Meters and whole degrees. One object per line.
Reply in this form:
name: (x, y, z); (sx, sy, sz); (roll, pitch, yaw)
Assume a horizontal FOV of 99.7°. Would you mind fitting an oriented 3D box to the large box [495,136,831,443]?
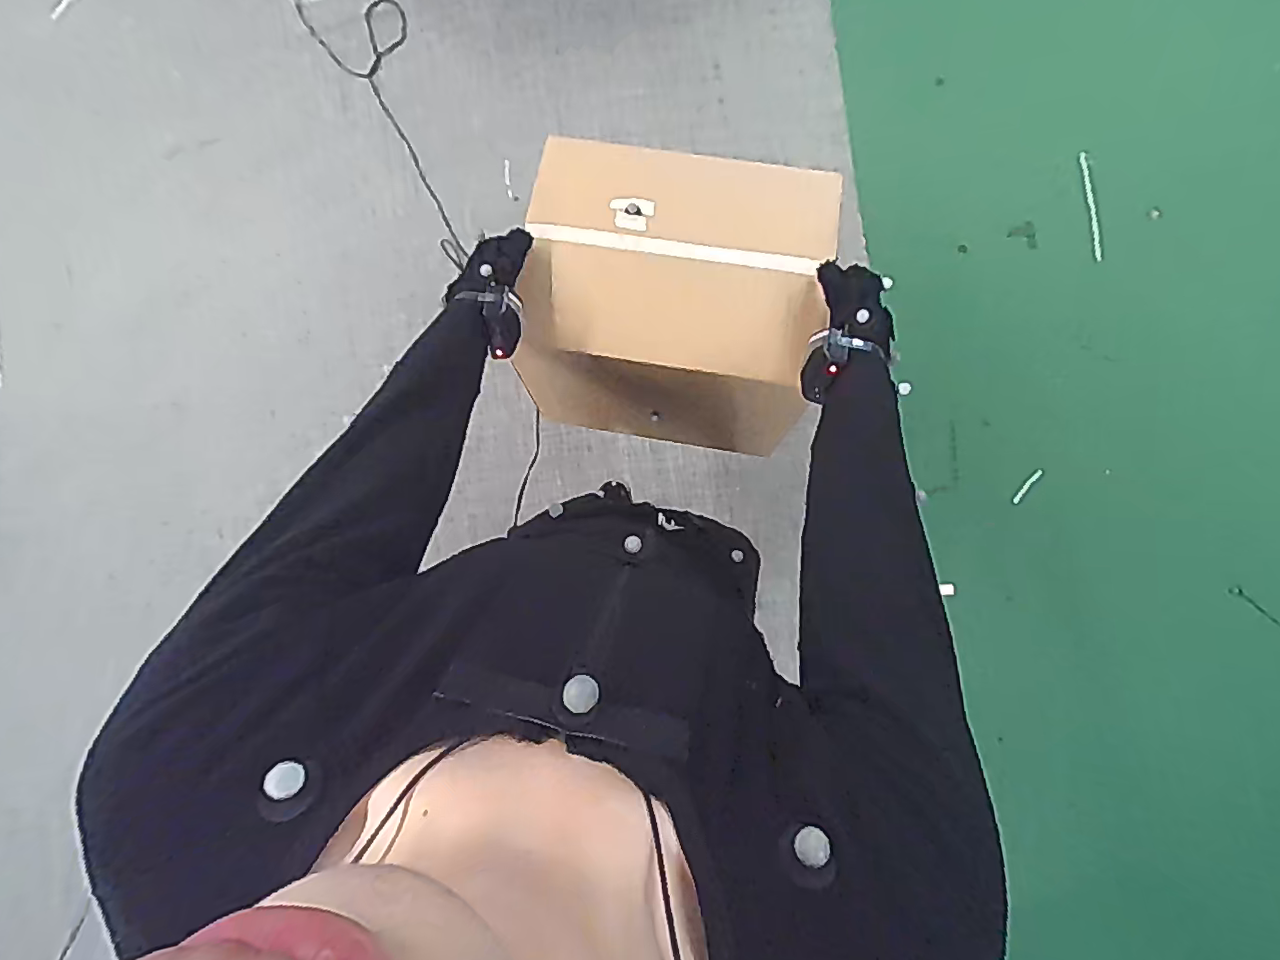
large box: (0.041, -0.263, 0.839); (0.408, 0.320, 0.320); (9, 77, 3)
